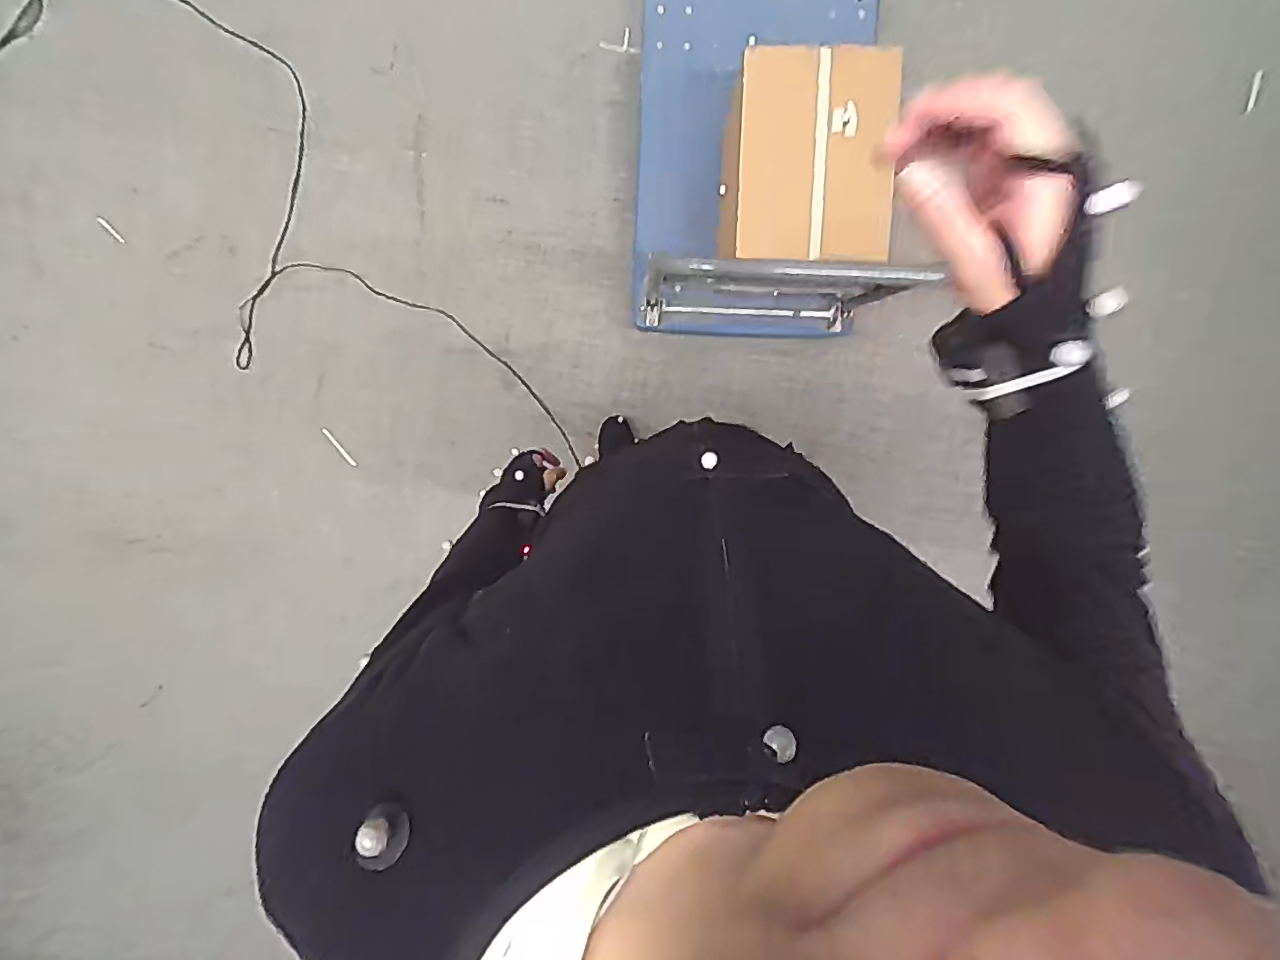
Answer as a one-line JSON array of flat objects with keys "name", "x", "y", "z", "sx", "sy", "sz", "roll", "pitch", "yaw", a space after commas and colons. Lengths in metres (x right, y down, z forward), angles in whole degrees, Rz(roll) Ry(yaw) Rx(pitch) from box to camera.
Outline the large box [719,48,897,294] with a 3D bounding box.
[{"name": "large box", "x": 0.353, "y": -0.660, "z": 1.227, "sx": 0.320, "sy": 0.320, "sz": 0.408, "roll": 1, "pitch": 96, "yaw": 0}]
